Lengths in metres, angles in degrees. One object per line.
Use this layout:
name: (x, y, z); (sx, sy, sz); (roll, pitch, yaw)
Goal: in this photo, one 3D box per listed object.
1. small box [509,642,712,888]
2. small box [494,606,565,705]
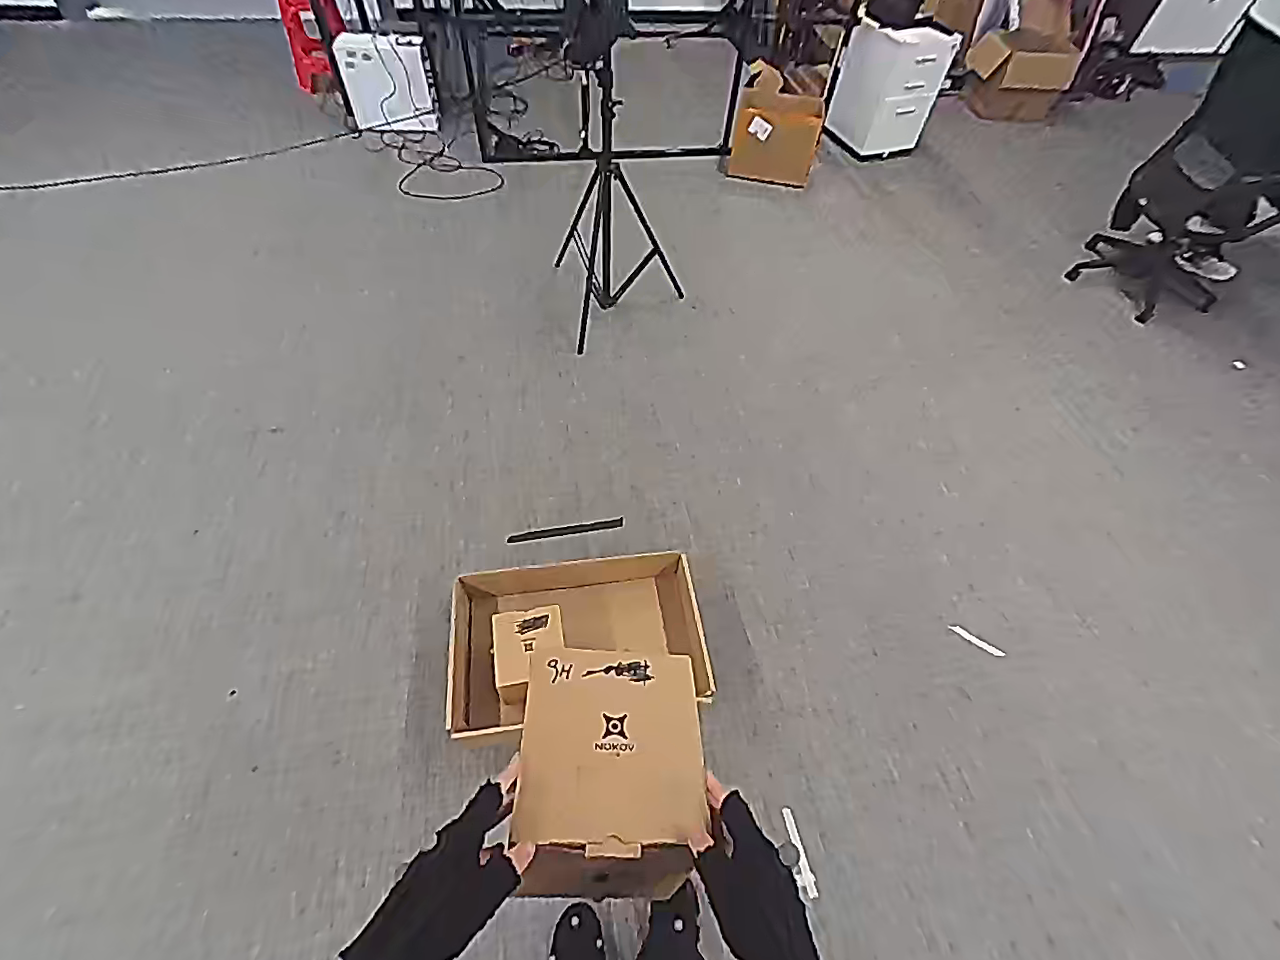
small box: (-0.035, 0.287, 0.541); (0.168, 0.176, 0.179); (6, 41, -8)
small box: (-0.268, 0.438, 1.343); (0.168, 0.176, 0.179); (-7, 55, -10)
